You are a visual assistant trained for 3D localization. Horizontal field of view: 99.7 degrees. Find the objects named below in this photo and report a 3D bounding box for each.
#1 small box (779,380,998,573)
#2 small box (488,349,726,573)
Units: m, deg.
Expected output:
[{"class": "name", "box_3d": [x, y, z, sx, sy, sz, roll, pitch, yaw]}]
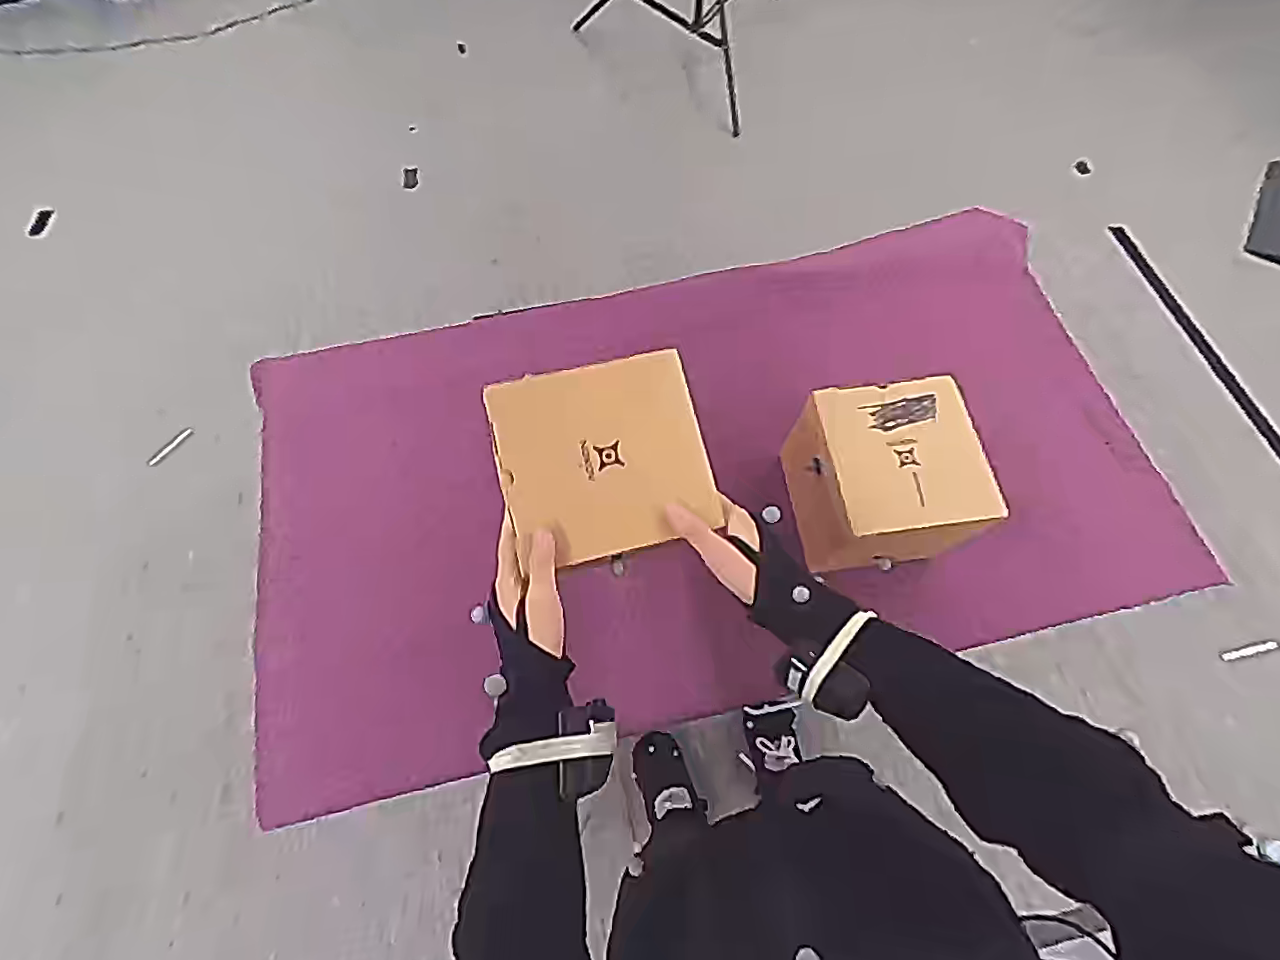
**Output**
[{"class": "small box", "box_3d": [0.282, 0.003, 0.663, 0.168, 0.176, 0.179, -7, 68, -2]}, {"class": "small box", "box_3d": [-0.036, -0.008, 0.533, 0.179, 0.176, 0.168, -12, 81, -7]}]
